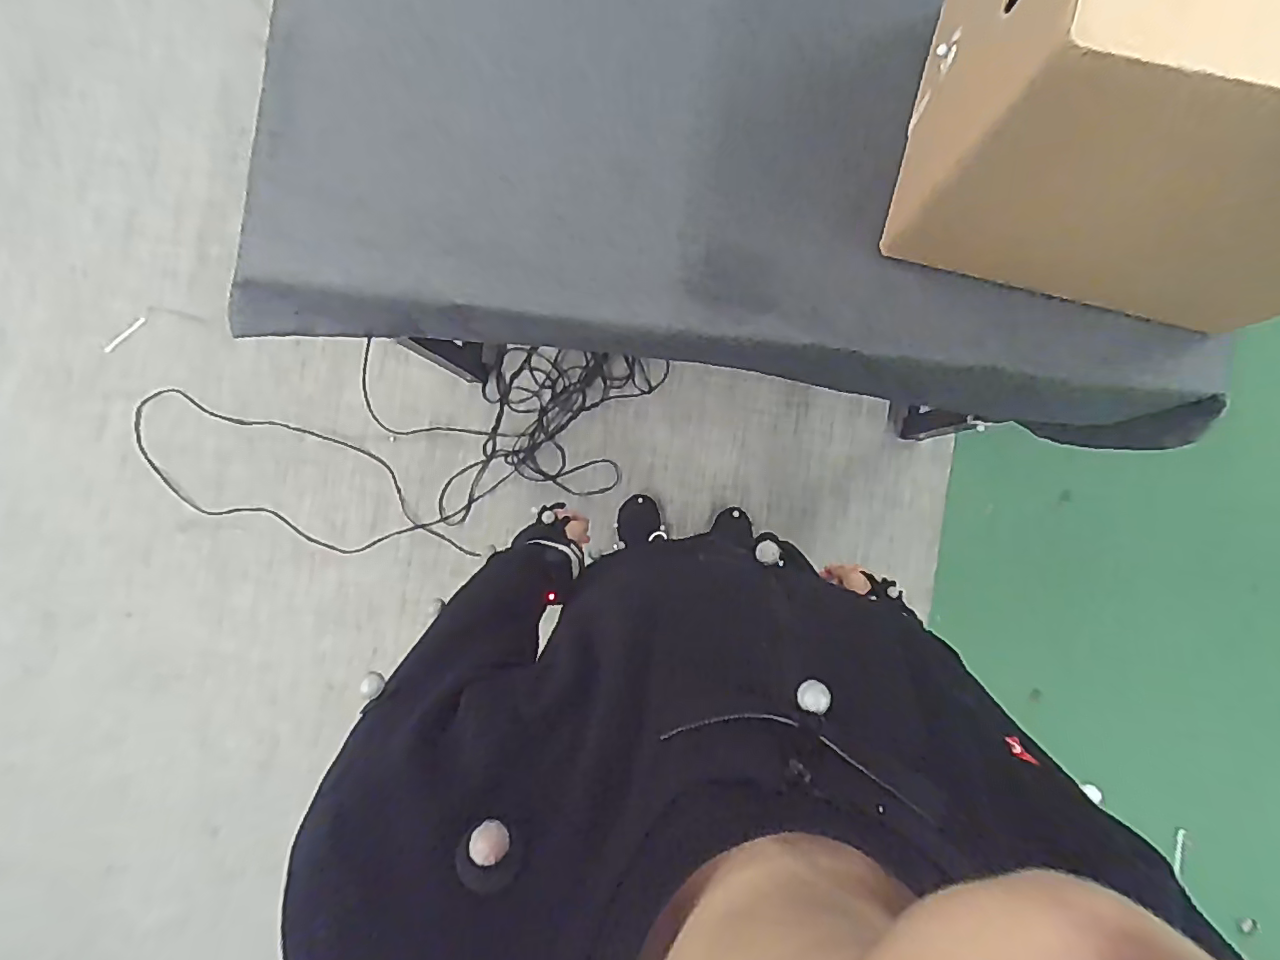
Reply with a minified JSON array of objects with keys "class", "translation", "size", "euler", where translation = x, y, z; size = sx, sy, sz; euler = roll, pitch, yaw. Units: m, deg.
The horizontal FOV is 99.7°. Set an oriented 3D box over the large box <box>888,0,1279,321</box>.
[{"class":"large box","translation":[0.509,-0.378,0.490],"size":[0.408,0.320,0.320],"euler":[14,90,2]}]
